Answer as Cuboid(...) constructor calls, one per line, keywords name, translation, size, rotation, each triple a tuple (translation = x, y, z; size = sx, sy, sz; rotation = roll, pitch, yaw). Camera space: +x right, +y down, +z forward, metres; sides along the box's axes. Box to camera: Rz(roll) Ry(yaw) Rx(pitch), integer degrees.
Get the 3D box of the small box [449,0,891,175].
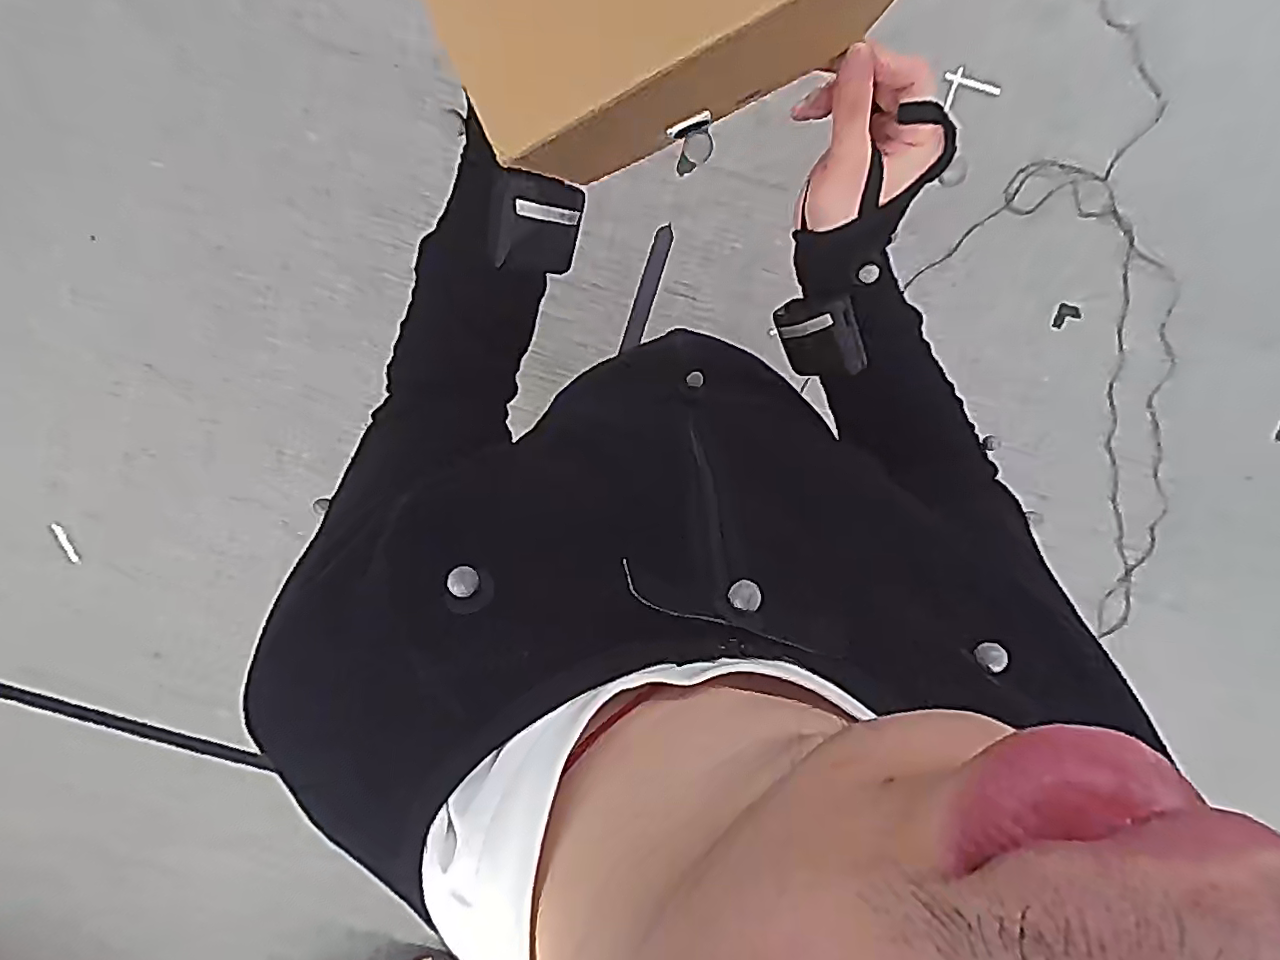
Cuboid(name="small box", translation=(0.004, -0.254, 0.224), size=(0.168, 0.176, 0.179), rotation=(-19, 112, 16))
